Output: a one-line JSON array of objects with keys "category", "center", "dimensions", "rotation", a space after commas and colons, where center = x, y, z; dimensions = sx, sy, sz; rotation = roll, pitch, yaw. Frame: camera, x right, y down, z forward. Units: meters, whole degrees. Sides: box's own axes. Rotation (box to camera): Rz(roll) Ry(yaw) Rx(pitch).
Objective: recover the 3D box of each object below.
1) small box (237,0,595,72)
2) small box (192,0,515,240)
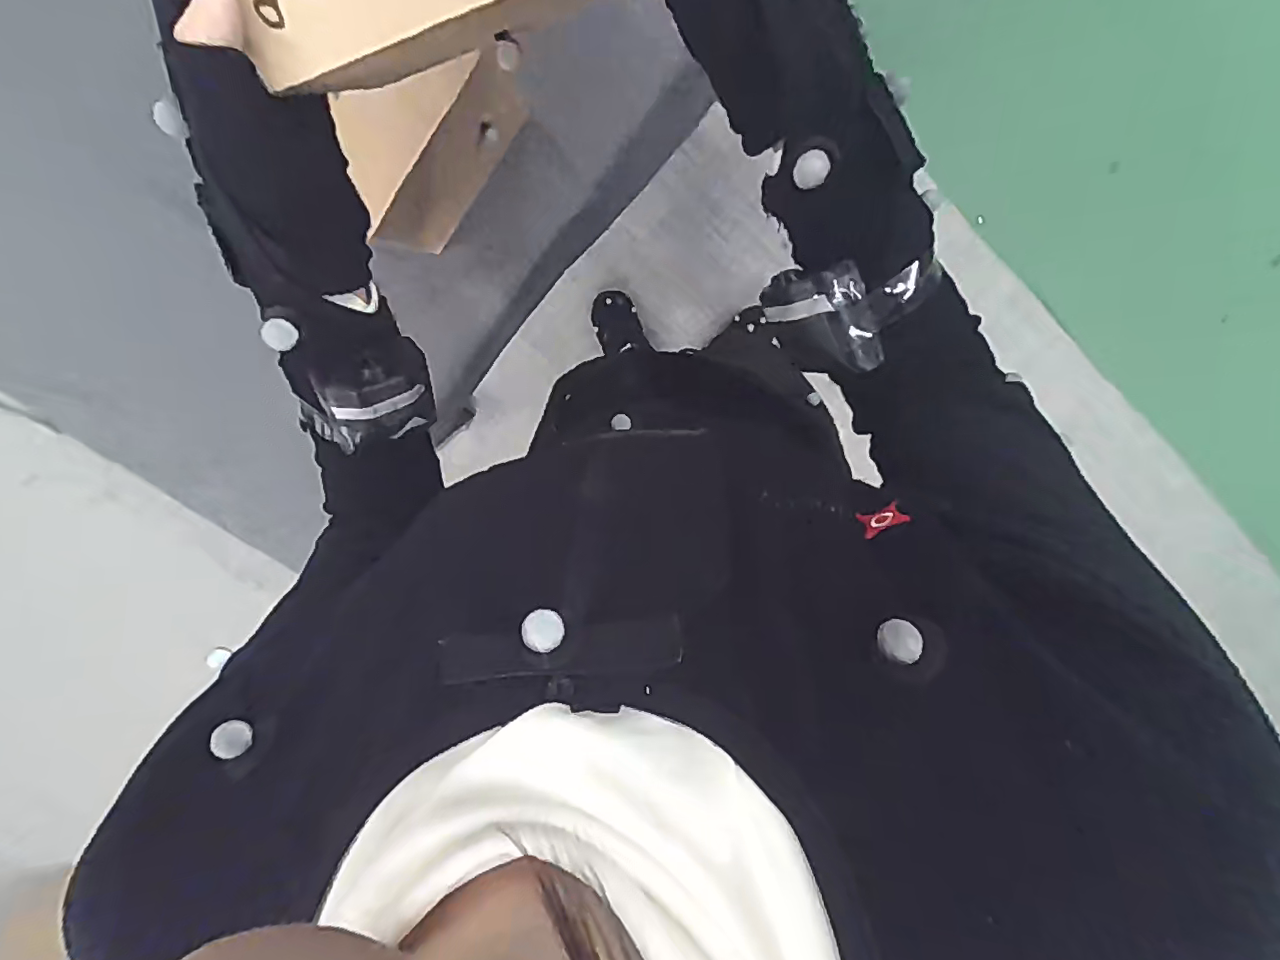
[{"category": "small box", "center": [-0.091, -0.294, 0.222], "dimensions": [0.179, 0.176, 0.168], "rotation": [-16, 126, 5]}, {"category": "small box", "center": [-0.231, -0.345, 0.487], "dimensions": [0.168, 0.176, 0.179], "rotation": [37, 106, -11]}]
